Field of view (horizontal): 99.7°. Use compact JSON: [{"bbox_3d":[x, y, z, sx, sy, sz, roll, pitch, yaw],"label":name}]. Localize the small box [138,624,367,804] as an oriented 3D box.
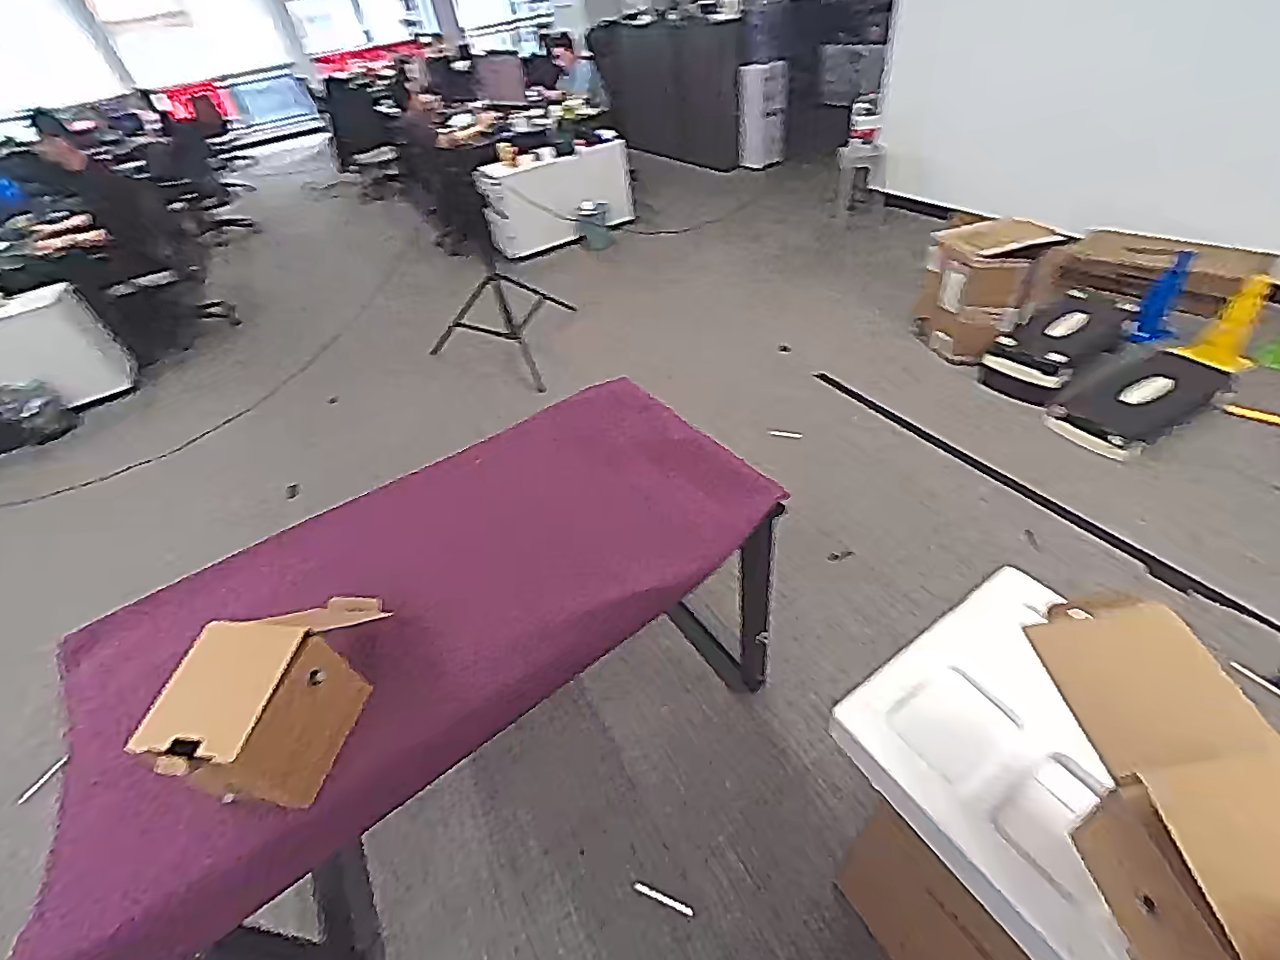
[{"bbox_3d":[-0.527,0.331,0.773,0.168,0.176,0.179,0,43,13],"label":"small box"}]
